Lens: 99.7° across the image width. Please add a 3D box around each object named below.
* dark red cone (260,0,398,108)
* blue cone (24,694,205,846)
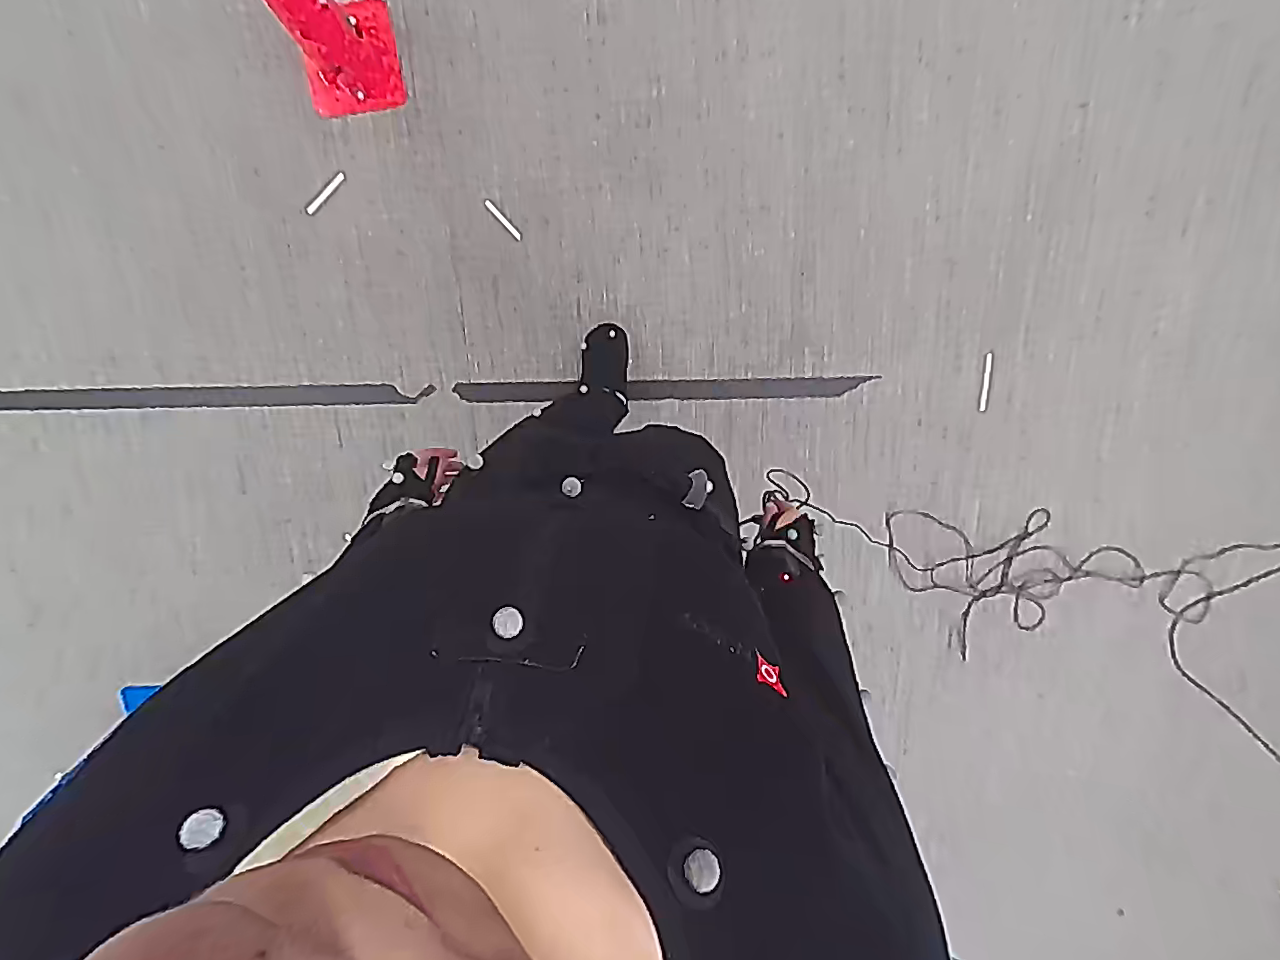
[{"bbox_3d":[-0.606,-0.838,0.943,0.202,0.394,0.201,-9,105,1],"label":"dark red cone"},{"bbox_3d":[-1.320,0.720,1.345,0.193,0.380,0.192,-1,105,0],"label":"blue cone"}]
